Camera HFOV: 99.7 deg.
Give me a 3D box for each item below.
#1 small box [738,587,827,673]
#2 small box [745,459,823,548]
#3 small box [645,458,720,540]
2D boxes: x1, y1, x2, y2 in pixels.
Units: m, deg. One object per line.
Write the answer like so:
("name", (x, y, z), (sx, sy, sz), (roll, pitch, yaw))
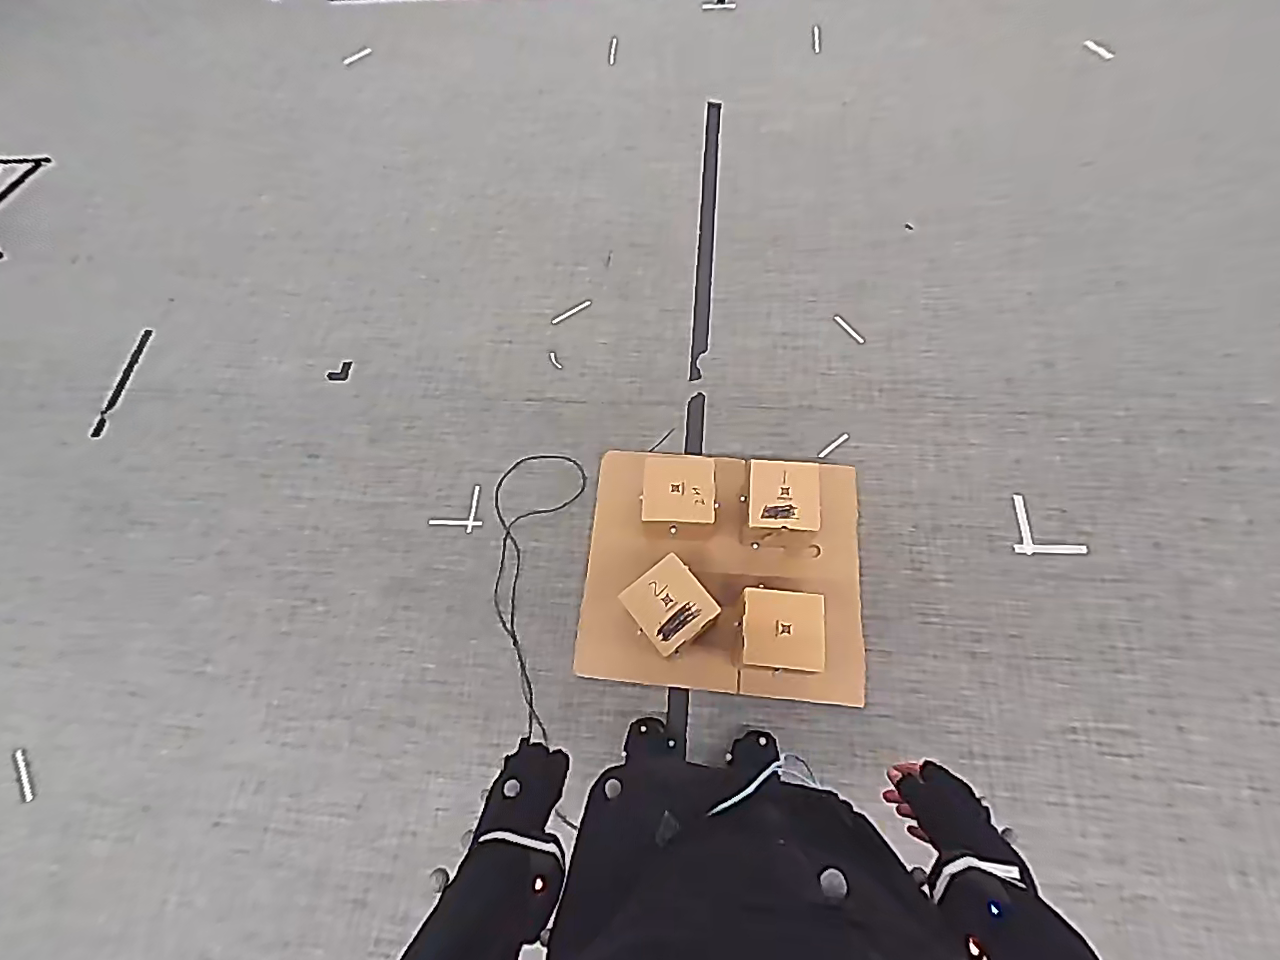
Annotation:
("small box", (0.326, 0.351, 1.255), (0.179, 0.176, 0.168), (4, 69, 8))
("small box", (0.359, 0.065, 1.362), (0.168, 0.176, 0.179), (5, 68, 7))
("small box", (0.110, 0.052, 1.384), (0.179, 0.176, 0.168), (2, 70, 5))
